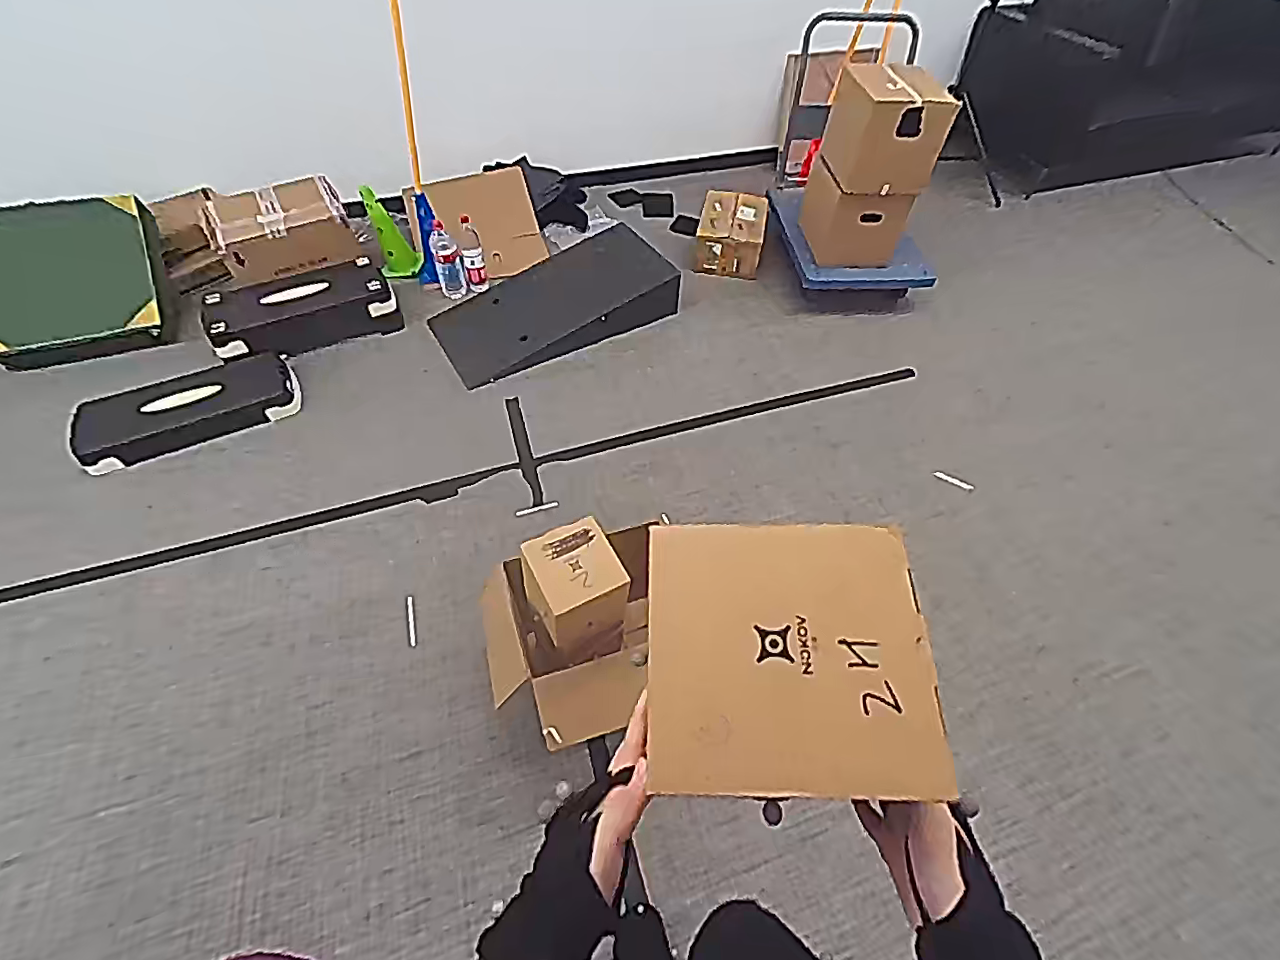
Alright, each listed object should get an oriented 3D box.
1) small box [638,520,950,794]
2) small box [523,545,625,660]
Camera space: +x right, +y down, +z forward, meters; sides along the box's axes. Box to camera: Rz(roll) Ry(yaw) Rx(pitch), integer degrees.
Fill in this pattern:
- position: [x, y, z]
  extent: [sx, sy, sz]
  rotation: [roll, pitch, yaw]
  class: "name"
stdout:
- position: [0.092, 0.139, 0.409]
  extent: [0.179, 0.176, 0.168]
  rotation: [0, 62, 2]
  class: "small box"
- position: [-0.154, 0.295, 1.282]
  extent: [0.179, 0.176, 0.168]
  rotation: [-31, 62, -27]
  class: "small box"
